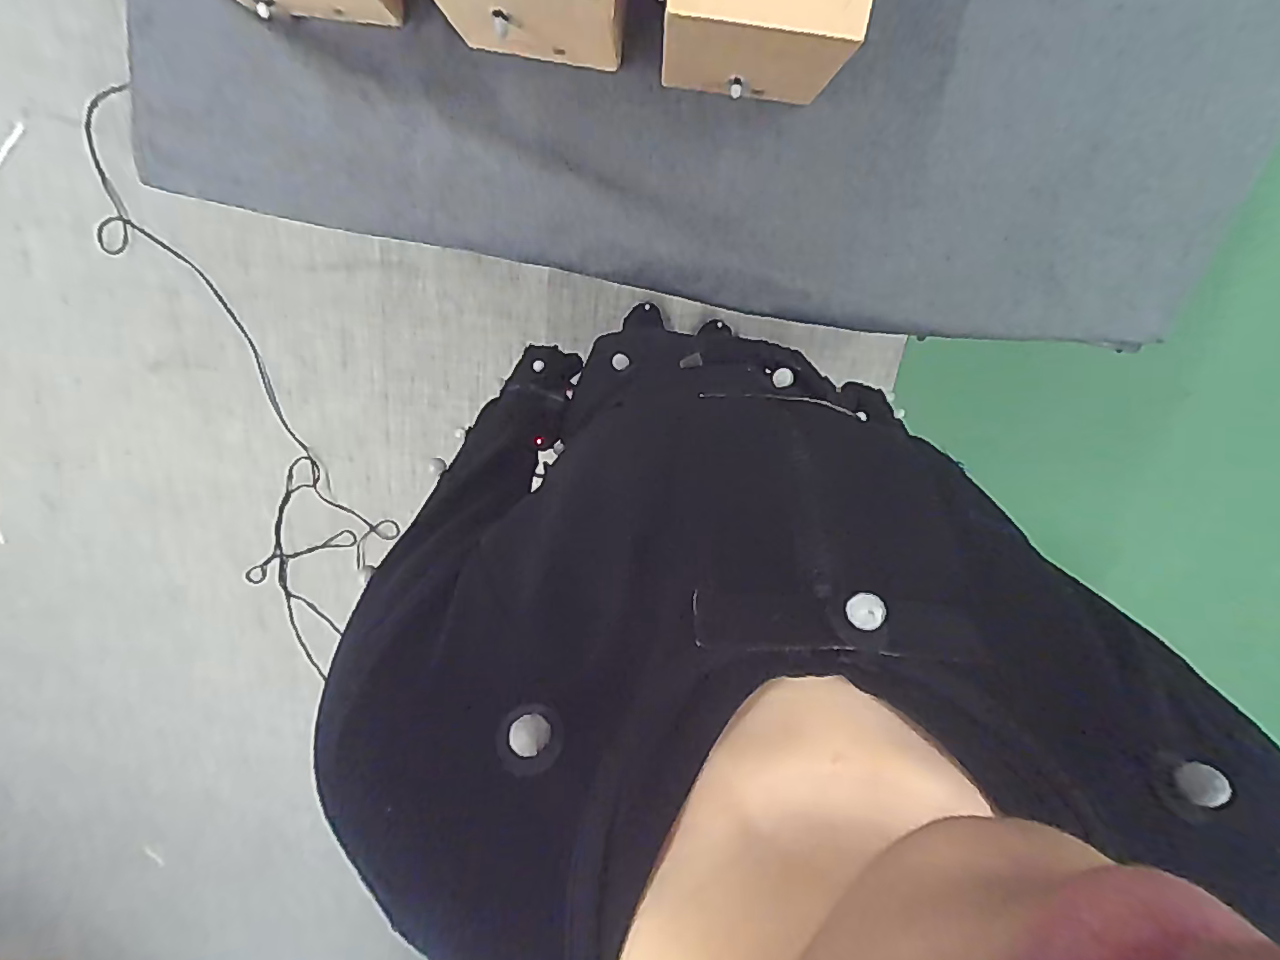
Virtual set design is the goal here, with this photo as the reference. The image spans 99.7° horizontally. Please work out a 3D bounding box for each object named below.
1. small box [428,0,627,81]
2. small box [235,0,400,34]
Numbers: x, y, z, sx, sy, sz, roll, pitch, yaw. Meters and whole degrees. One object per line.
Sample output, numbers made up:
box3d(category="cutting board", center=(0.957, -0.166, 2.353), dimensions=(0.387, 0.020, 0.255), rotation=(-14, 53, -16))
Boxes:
box3d(category="small box", center=(-0.094, -0.497, 0.486), dimensions=(0.168, 0.176, 0.179), rotation=(9, 107, -2))
box3d(category="small box", center=(-0.326, -0.538, 0.476), dimensions=(0.168, 0.176, 0.179), rotation=(5, 107, -1))
